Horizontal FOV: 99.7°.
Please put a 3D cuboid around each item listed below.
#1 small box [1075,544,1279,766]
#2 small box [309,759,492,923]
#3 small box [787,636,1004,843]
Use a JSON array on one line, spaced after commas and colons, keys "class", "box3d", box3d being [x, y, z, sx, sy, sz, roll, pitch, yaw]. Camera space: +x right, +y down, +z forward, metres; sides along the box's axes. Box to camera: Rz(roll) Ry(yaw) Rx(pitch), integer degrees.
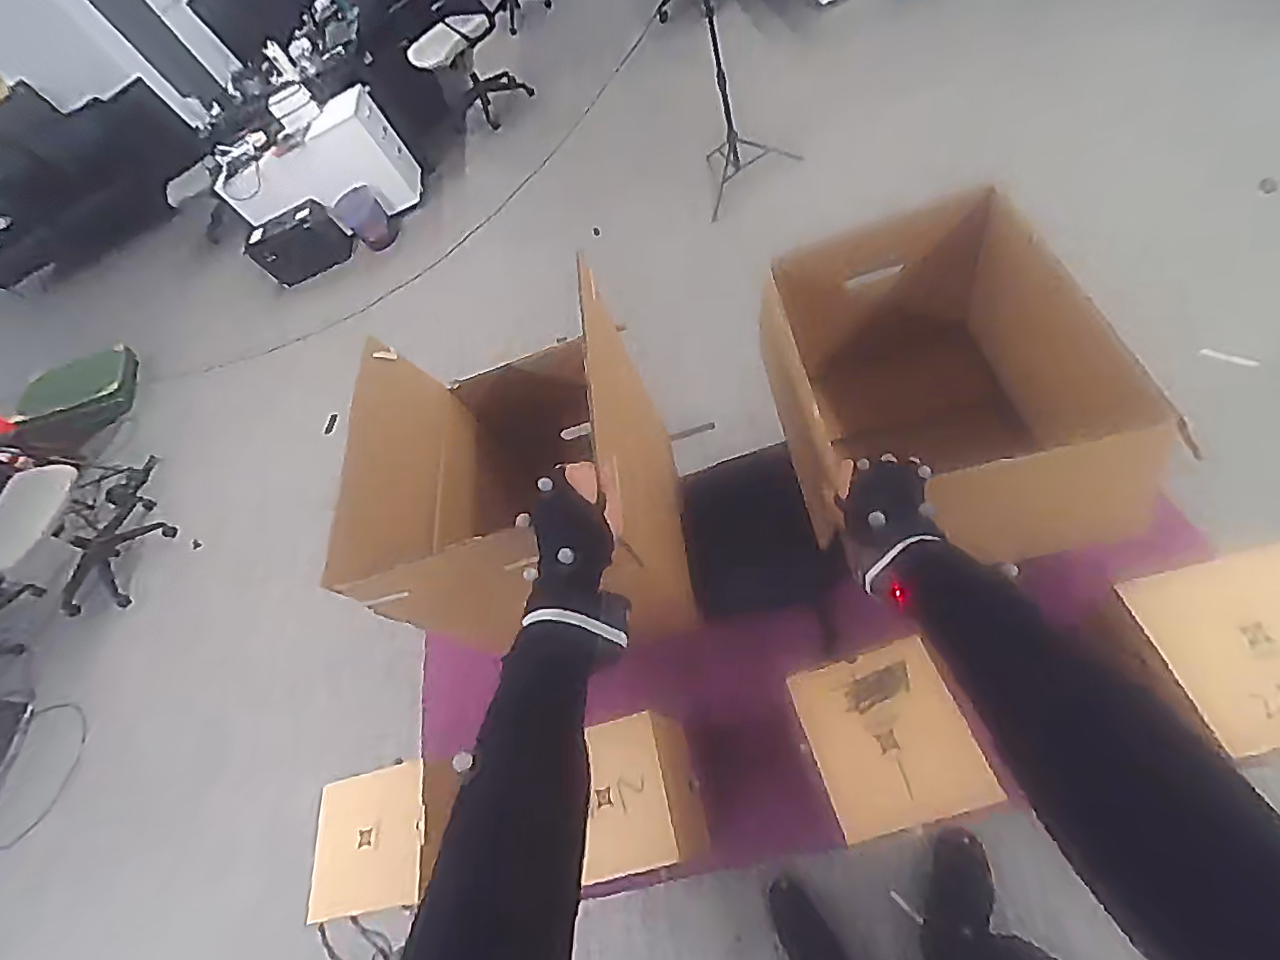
[{"class": "small box", "box3d": [0.627, 0.198, 0.590, 0.168, 0.176, 0.179, -19, 56, 13]}, {"class": "small box", "box3d": [-0.341, 0.527, 0.800, 0.179, 0.176, 0.168, -19, 56, 10]}, {"class": "small box", "box3d": [0.295, 0.317, 0.660, 0.168, 0.176, 0.179, -23, 56, 9]}]
